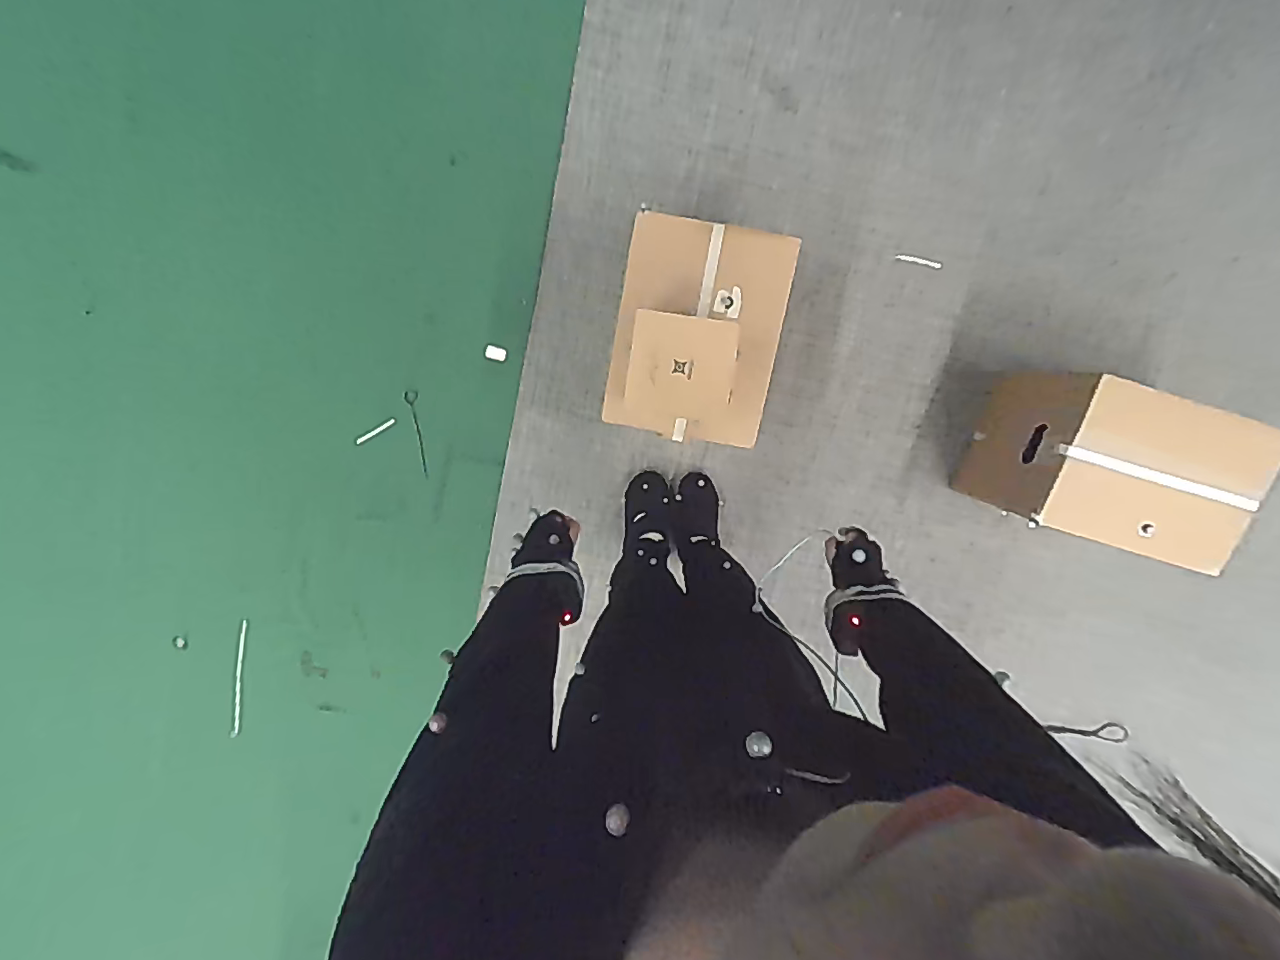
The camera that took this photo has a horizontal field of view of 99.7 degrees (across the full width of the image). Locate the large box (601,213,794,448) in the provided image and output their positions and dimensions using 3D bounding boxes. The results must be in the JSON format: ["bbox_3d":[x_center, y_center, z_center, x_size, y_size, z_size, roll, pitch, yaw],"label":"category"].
[{"bbox_3d":[0.110,-0.303,1.183,0.320,0.320,0.408,11,100,0],"label":"large box"}]

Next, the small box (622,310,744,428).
[{"bbox_3d":[0.072,-0.193,0.955,0.179,0.176,0.168,10,100,2],"label":"small box"}]
